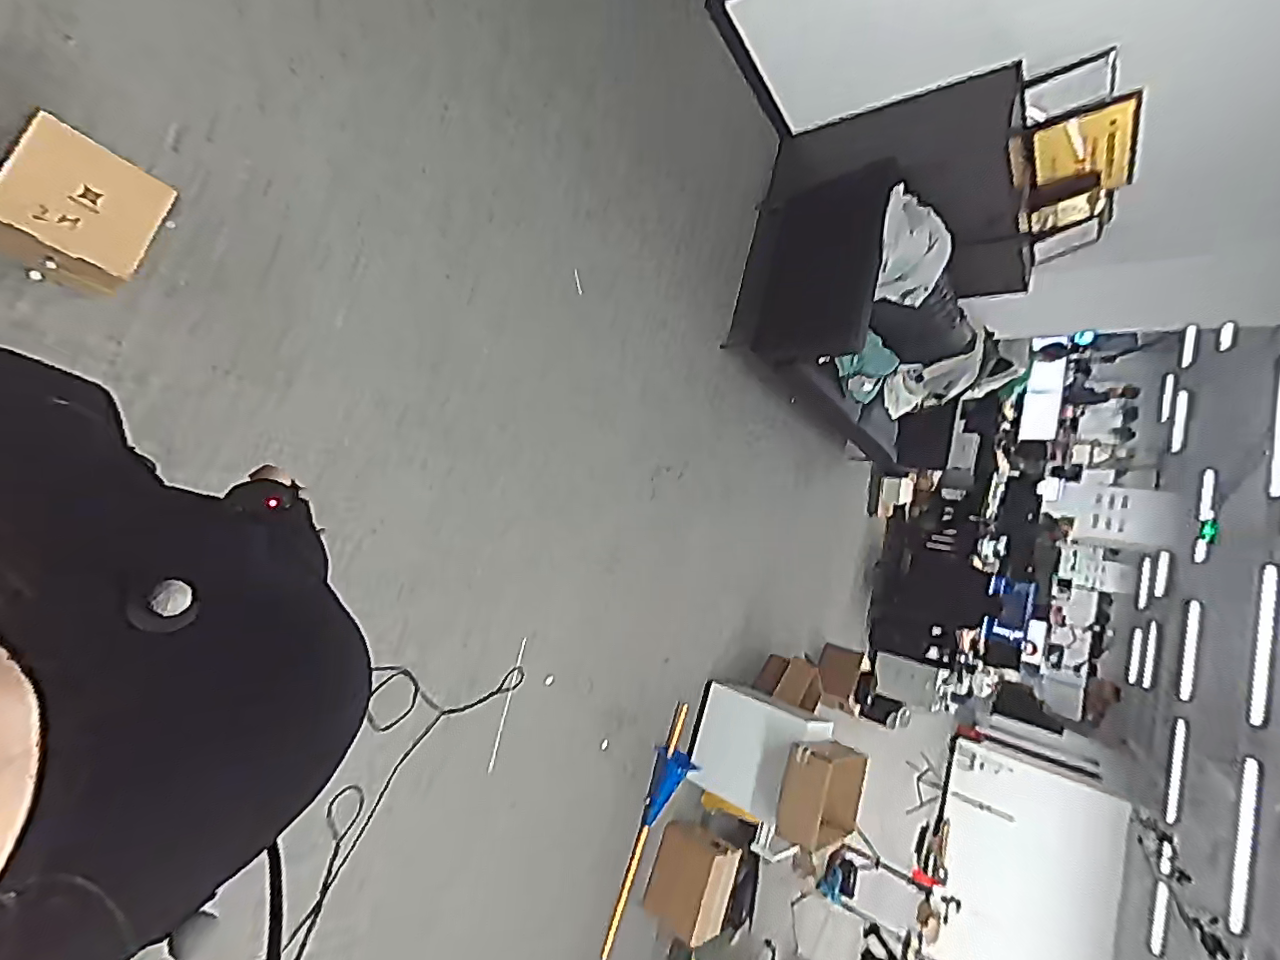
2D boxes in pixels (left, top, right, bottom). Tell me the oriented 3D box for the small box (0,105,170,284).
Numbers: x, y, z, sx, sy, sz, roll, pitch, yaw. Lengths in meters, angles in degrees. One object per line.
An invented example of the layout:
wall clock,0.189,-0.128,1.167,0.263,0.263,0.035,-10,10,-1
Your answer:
small box,-0.909,-0.442,0.866,0.168,0.176,0.179,30,74,-48

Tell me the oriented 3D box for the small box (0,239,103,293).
small box,-1.038,-0.459,0.967,0.168,0.176,0.179,33,72,-48
